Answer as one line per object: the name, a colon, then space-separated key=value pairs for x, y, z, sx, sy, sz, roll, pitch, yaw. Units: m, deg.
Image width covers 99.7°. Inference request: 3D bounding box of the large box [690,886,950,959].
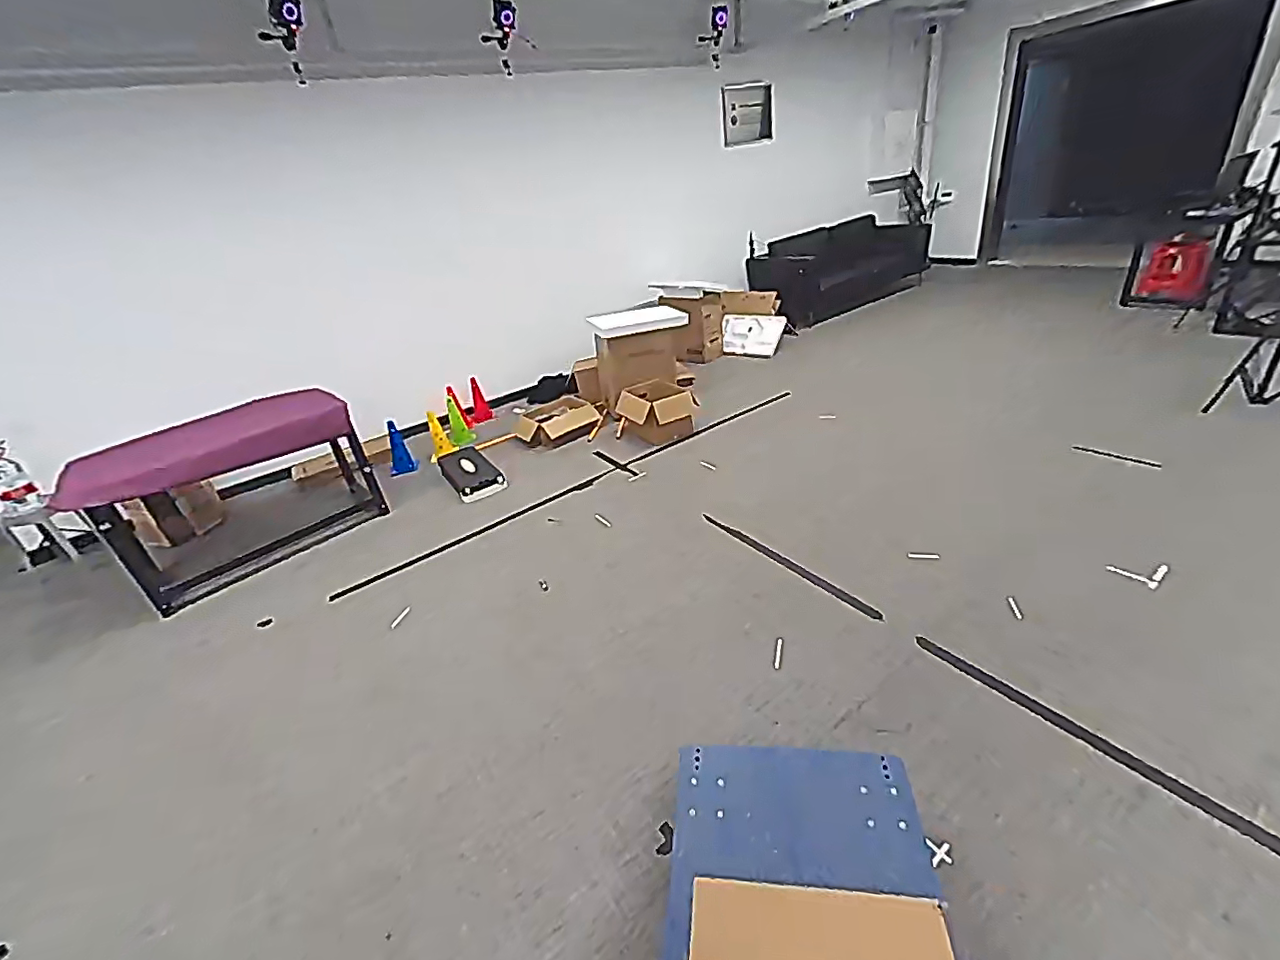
large box: x=0.285 y=0.912 z=0.860 sx=0.408 sy=0.320 sz=0.320 roll=-2 pitch=30 yaw=10
